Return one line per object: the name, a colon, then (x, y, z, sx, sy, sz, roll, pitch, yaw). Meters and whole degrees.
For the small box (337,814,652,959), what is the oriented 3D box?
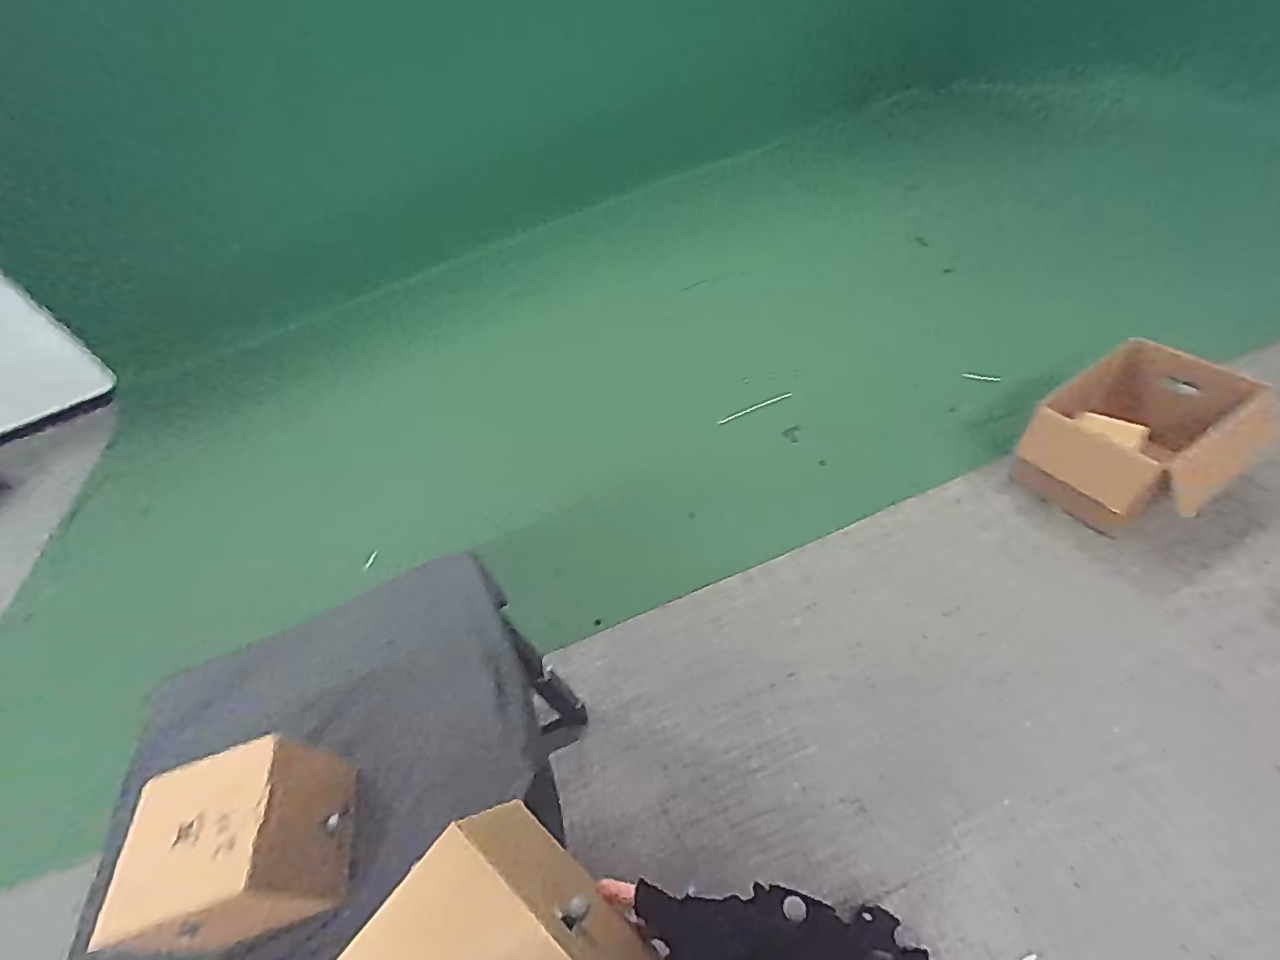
small box: (-0.103, 0.362, 0.370, 0.179, 0.176, 0.168, 38, 71, 18)

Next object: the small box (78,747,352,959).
small box: (-0.495, 0.463, 0.665, 0.179, 0.176, 0.168, -20, 46, -1)
